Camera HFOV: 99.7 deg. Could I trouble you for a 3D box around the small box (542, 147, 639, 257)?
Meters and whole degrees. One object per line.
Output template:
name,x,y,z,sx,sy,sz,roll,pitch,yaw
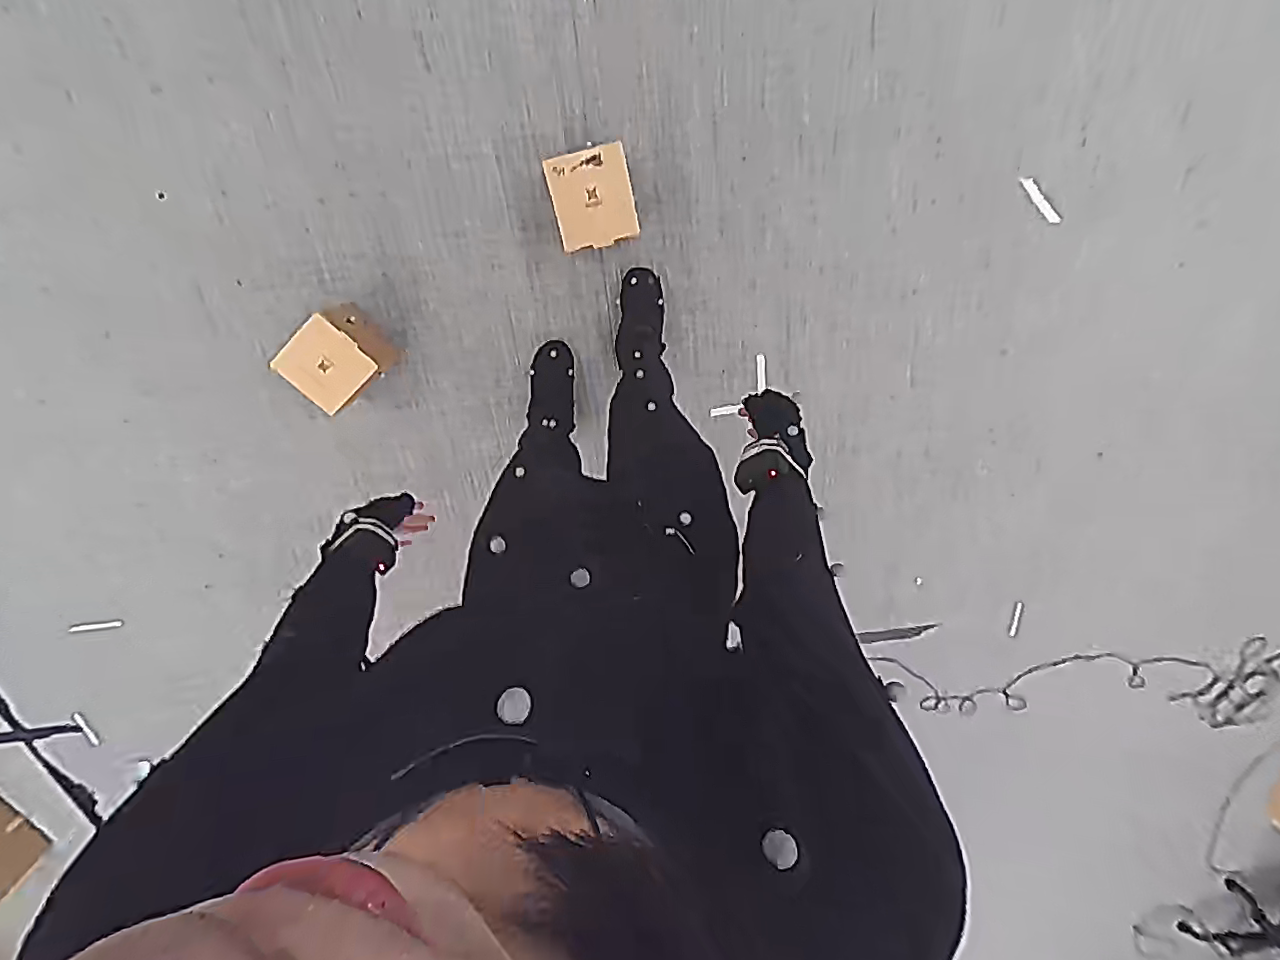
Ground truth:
small box,-0.103,-0.598,1.172,0.168,0.176,0.179,-13,115,1

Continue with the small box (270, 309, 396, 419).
small box,-0.703,-0.279,1.266,0.179,0.176,0.168,-40,110,13
